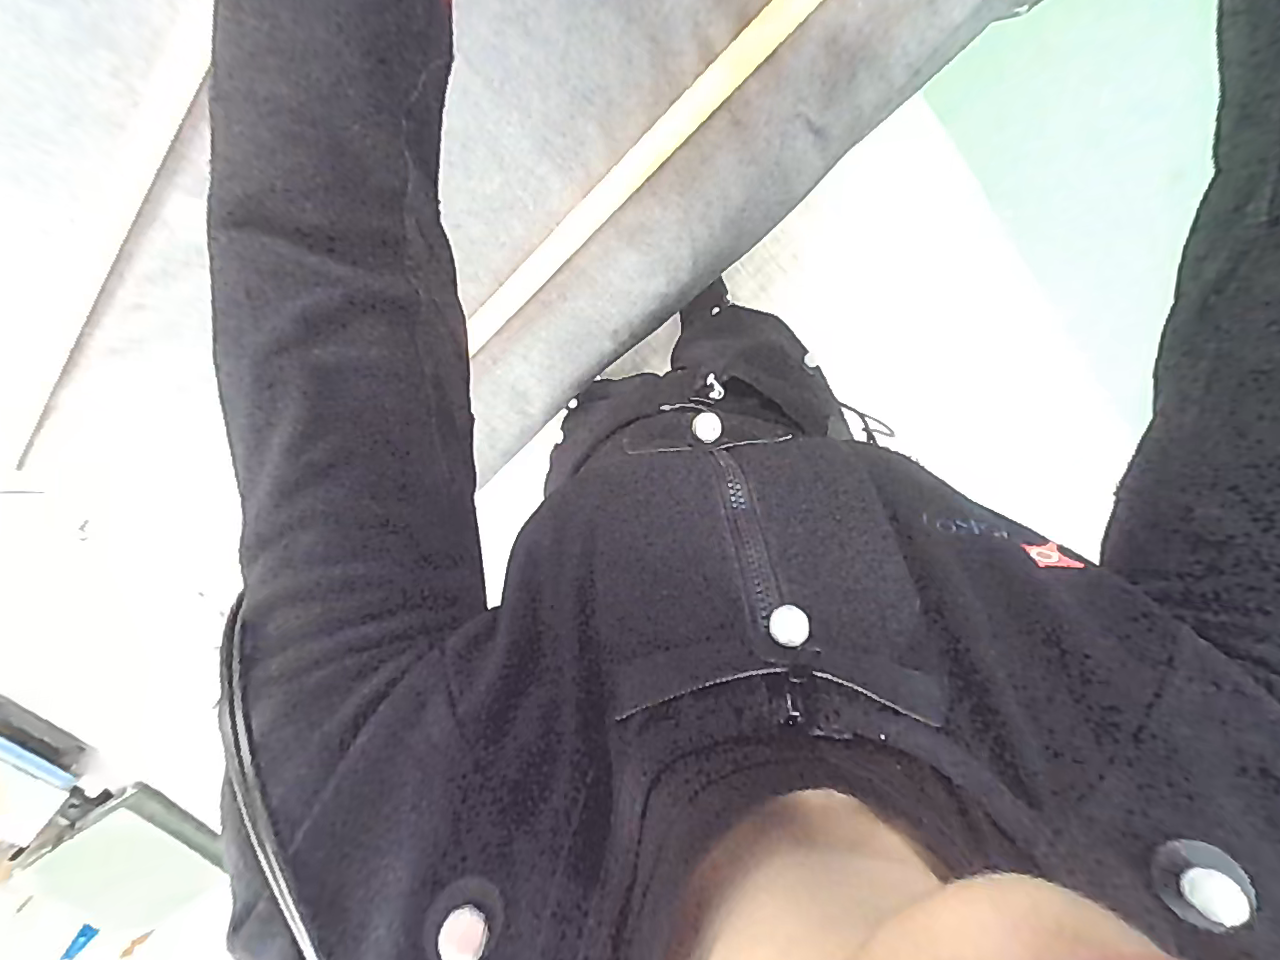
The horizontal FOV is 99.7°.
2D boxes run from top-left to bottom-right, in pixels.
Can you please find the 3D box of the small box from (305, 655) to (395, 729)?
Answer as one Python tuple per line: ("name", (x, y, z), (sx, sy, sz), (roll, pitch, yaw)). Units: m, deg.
("small box", (-0.980, 0.731, 1.846), (0.168, 0.176, 0.179), (-17, 114, 15))
